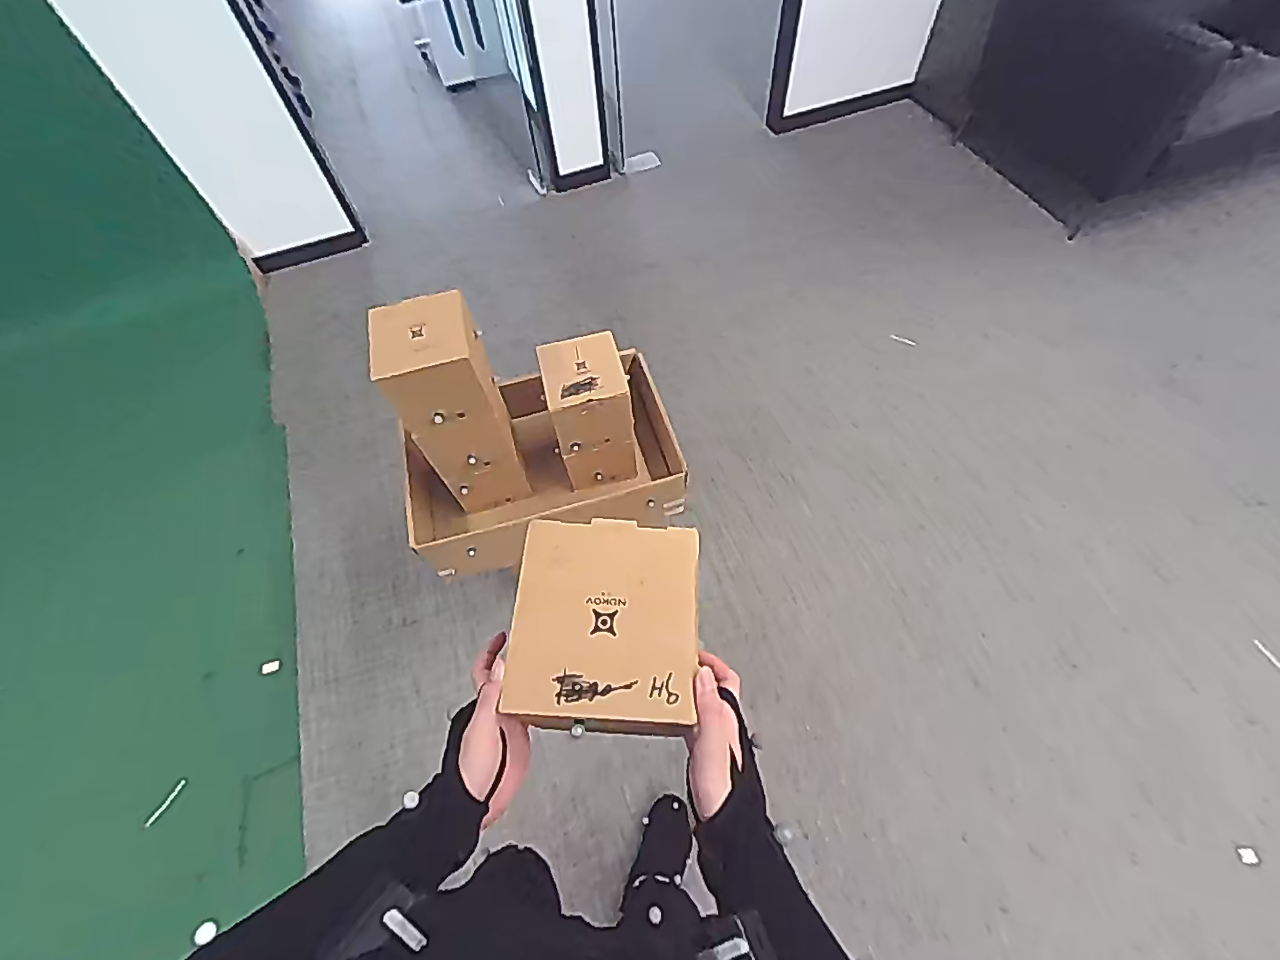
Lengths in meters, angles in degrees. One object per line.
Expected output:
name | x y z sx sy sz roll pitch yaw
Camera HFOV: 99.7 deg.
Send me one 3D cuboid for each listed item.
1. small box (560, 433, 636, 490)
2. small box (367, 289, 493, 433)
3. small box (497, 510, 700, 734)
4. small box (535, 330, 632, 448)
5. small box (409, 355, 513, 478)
small box | -0.110 -0.102 1.300 0.168 0.176 0.179 -14 61 -5
small box | -0.383 -0.216 1.000 0.168 0.176 0.179 -15 60 -5
small box | -0.030 0.148 0.544 0.168 0.176 0.179 3 61 2
small box | -0.116 -0.185 1.158 0.168 0.176 0.179 -13 60 -5
small box | -0.377 -0.133 1.140 0.168 0.176 0.179 -16 60 -6
